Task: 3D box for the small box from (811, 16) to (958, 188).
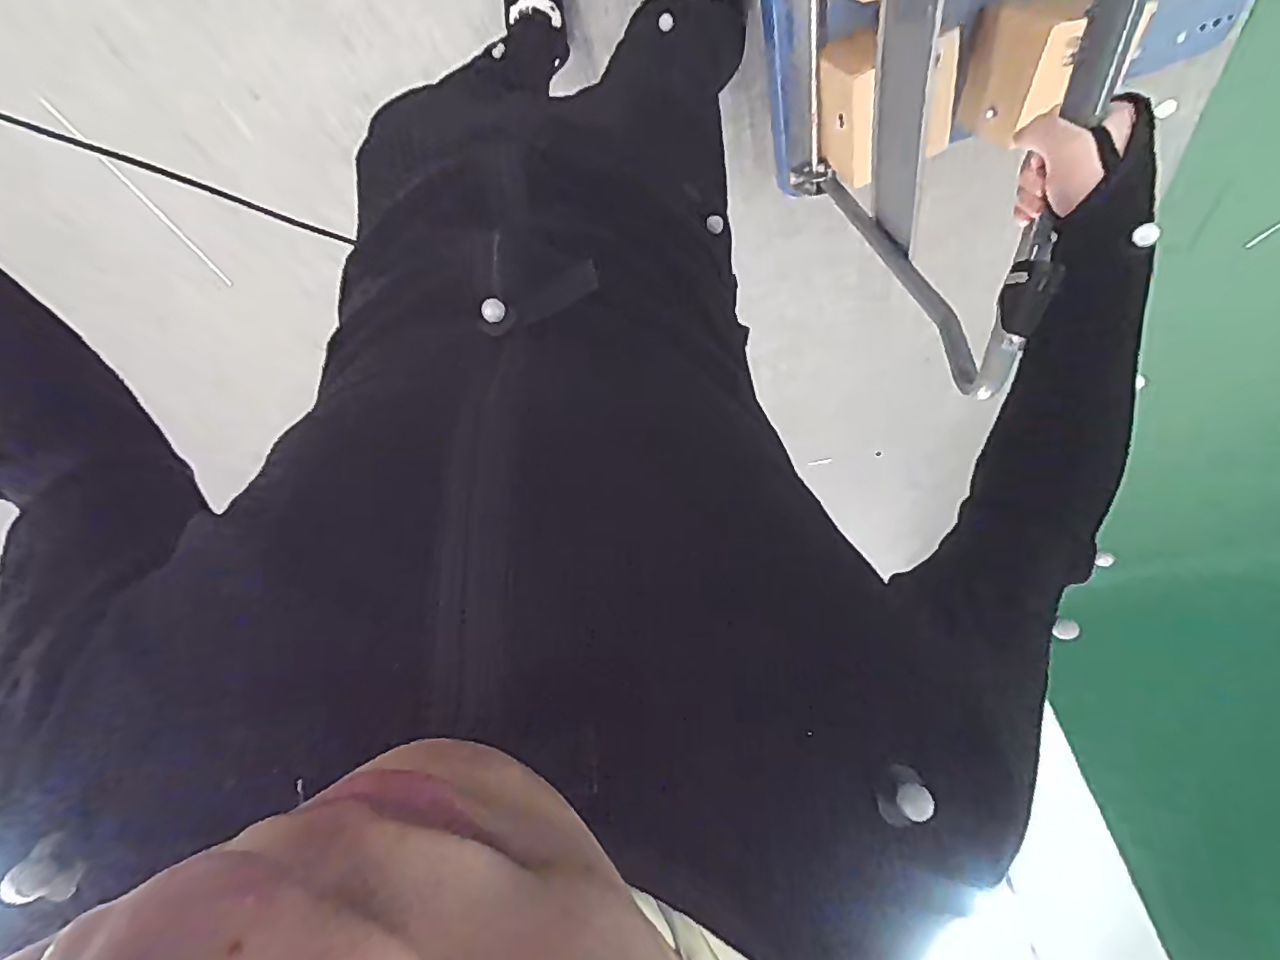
[{"bbox_3d":[0.399,-0.640,0.911,0.168,0.176,0.179,-20,142,8],"label":"small box"}]
